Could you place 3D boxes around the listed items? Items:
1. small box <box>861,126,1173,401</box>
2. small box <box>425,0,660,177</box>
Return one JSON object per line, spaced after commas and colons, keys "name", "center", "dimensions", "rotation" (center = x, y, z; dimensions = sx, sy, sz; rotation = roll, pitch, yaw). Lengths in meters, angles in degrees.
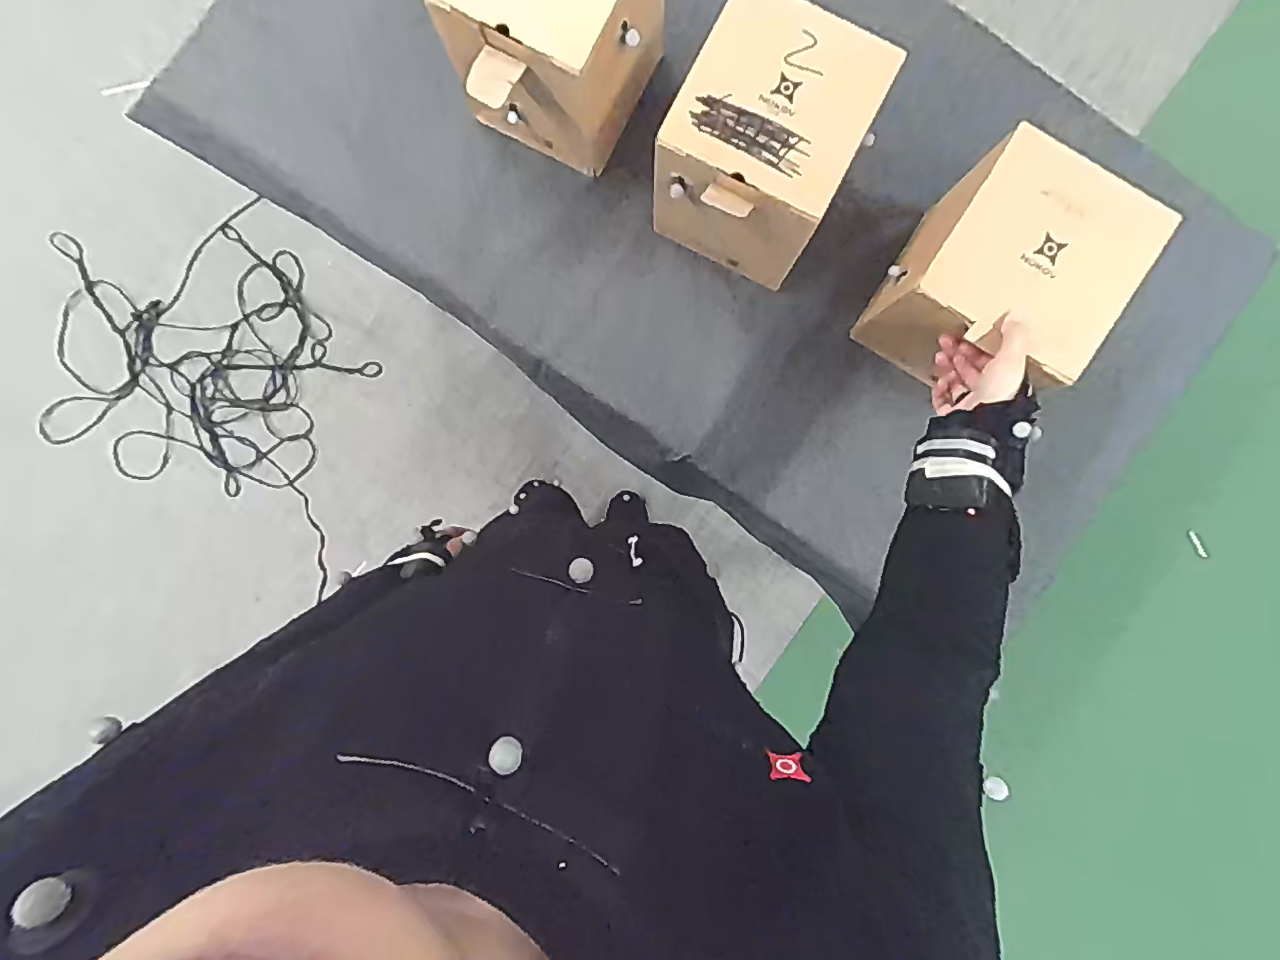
{"name": "small box", "center": [0.357, -0.199, 0.556], "dimensions": [0.168, 0.176, 0.179], "rotation": [31, 91, 0]}
{"name": "small box", "center": [-0.087, -0.468, 0.565], "dimensions": [0.168, 0.176, 0.179], "rotation": [26, 90, 1]}
